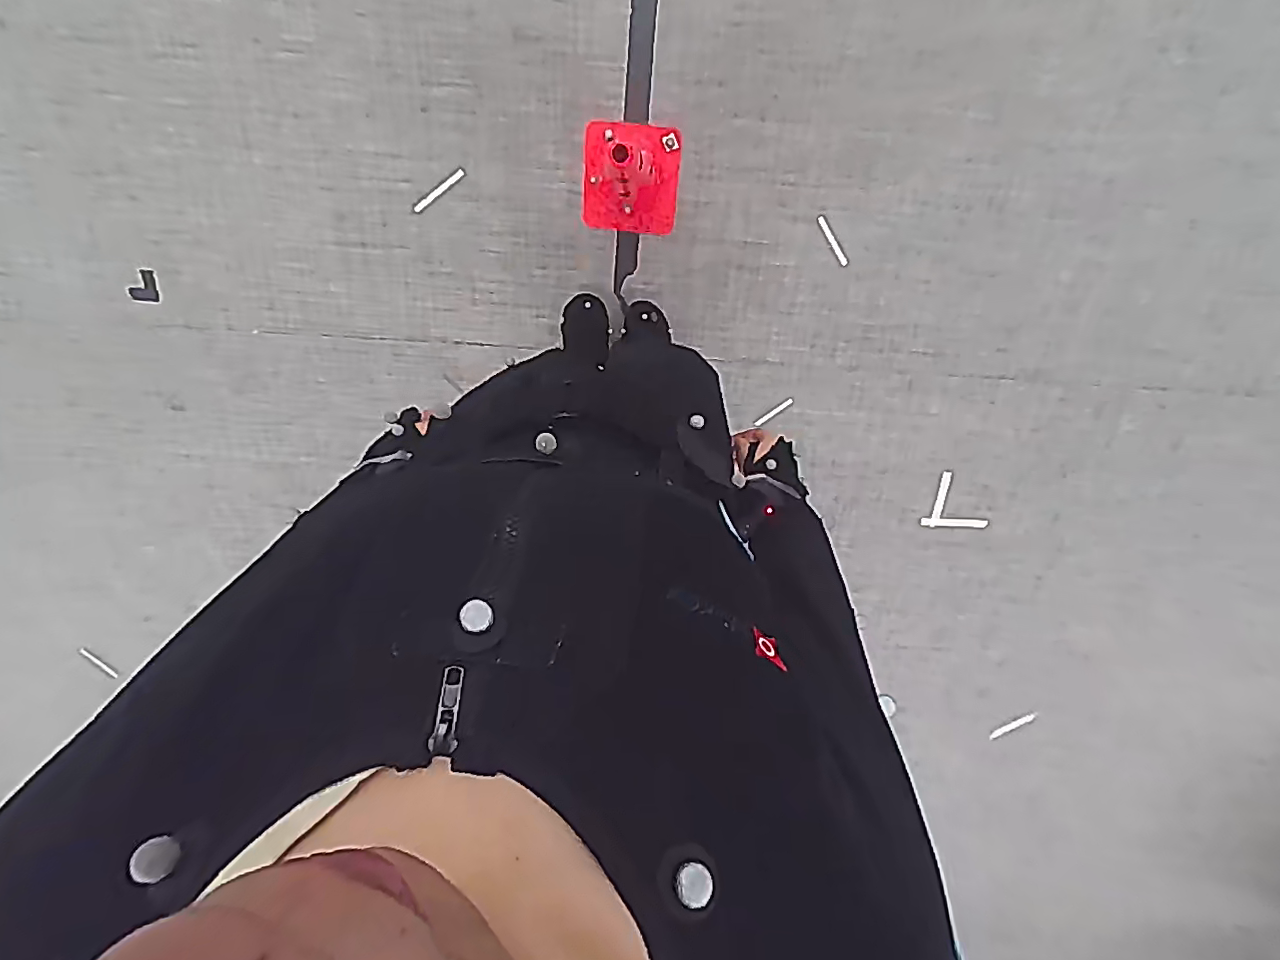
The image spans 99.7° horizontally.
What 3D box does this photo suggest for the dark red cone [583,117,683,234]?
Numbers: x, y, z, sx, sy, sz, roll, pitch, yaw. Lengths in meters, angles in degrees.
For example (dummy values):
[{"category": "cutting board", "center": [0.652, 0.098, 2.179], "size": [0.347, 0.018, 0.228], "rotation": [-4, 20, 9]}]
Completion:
[{"category": "dark red cone", "center": [-0.025, -0.553, 0.958], "size": [0.201, 0.394, 0.202], "rotation": [5, 114, 1]}]
